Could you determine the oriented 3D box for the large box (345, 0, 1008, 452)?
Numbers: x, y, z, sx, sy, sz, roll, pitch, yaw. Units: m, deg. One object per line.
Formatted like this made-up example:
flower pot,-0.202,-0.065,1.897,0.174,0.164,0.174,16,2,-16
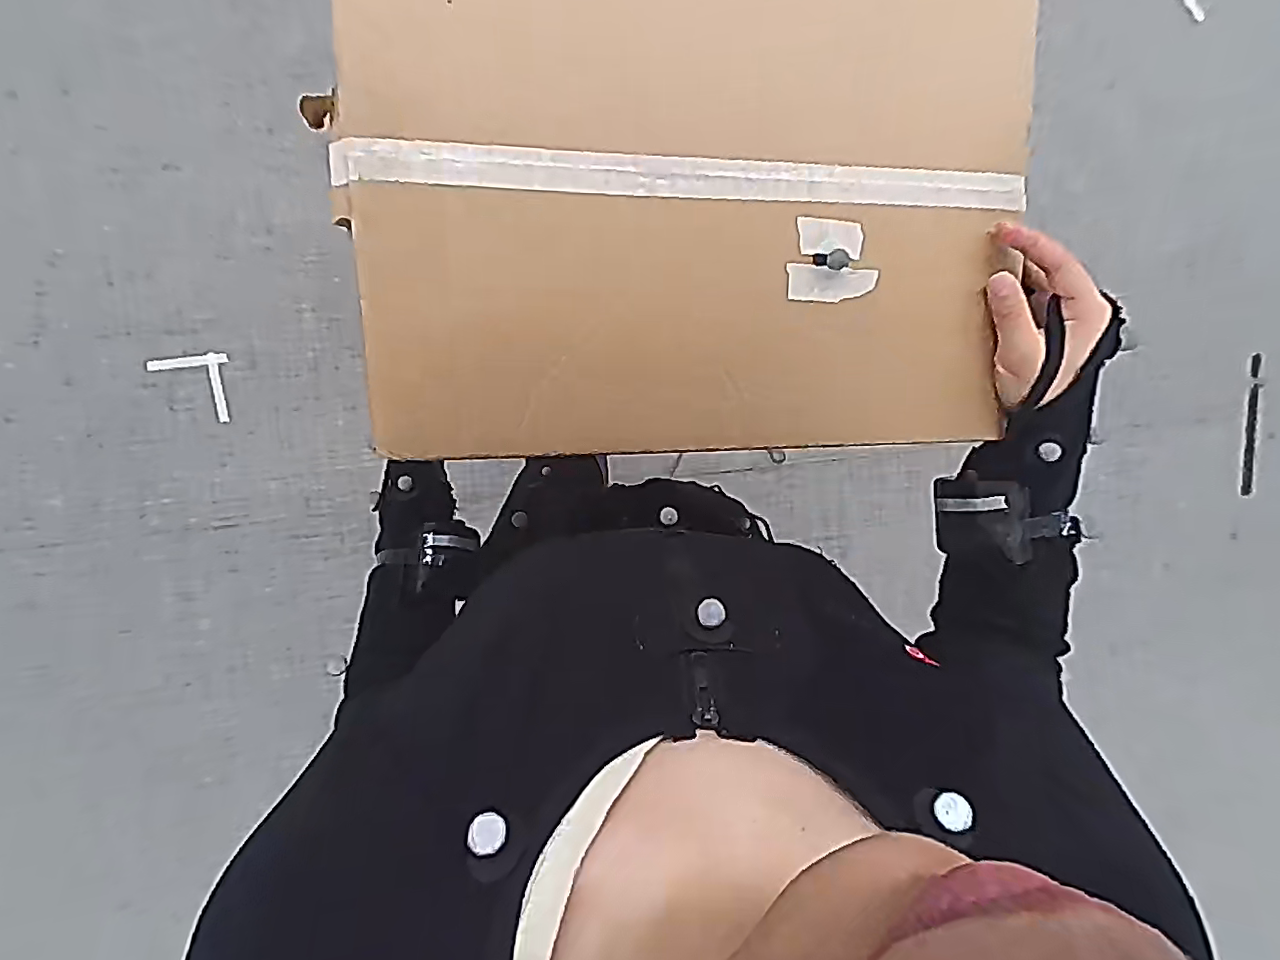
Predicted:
large box,0.015,-0.200,0.471,0.408,0.320,0.320,-3,99,-11
